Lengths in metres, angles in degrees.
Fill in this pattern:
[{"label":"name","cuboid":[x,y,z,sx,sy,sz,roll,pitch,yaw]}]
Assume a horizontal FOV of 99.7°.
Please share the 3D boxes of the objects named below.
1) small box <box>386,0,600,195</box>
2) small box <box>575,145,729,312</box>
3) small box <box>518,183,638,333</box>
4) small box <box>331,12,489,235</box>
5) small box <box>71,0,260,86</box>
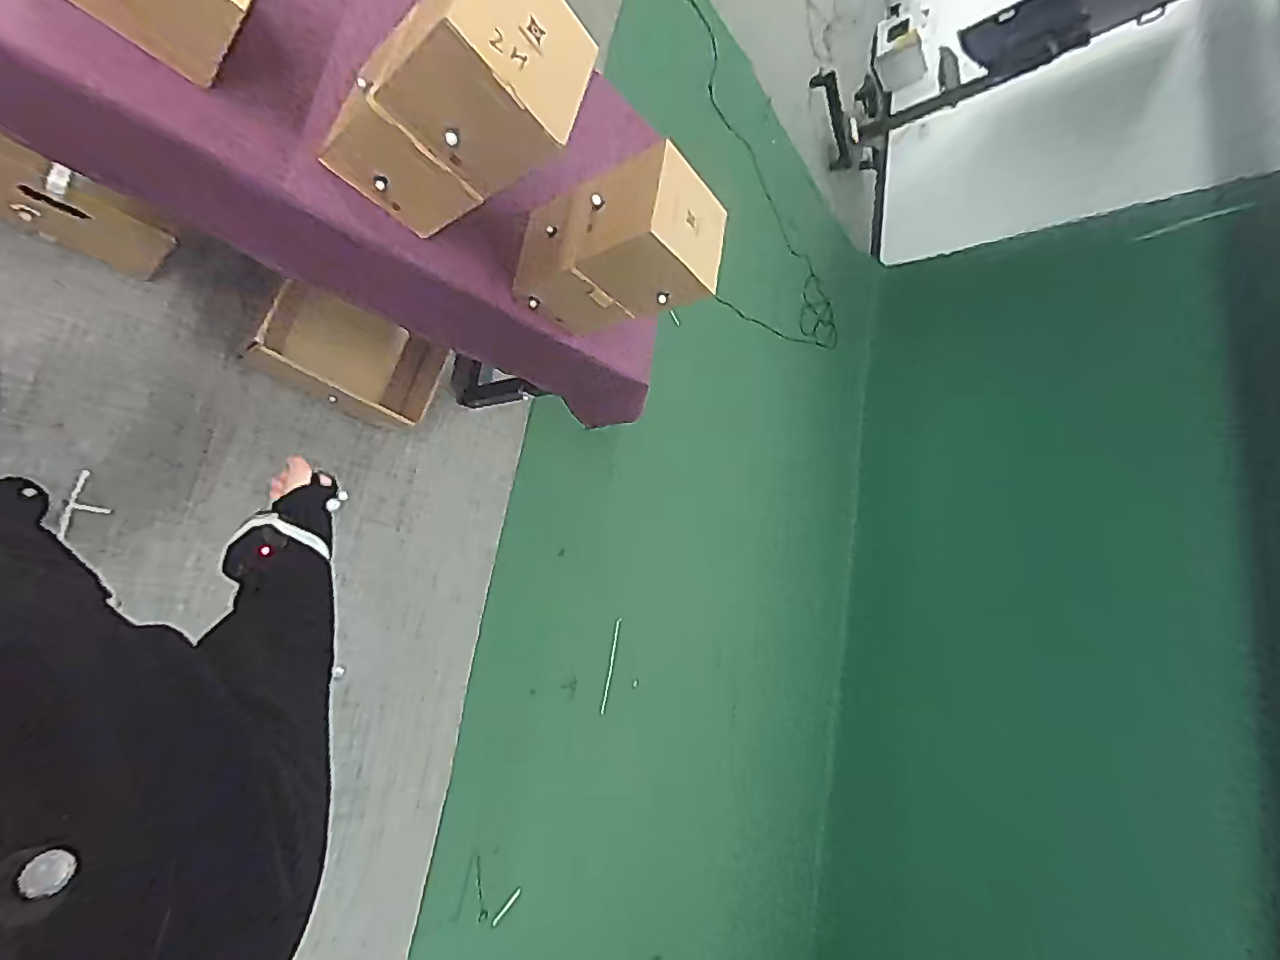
[{"label":"small box","cuboid":[-0.181,-0.499,0.667,0.168,0.176,0.179,31,67,-44]},{"label":"small box","cuboid":[0.023,-0.398,0.898,0.179,0.176,0.168,25,70,-45]},{"label":"small box","cuboid":[-0.103,-0.396,1.002,0.168,0.176,0.179,23,71,-46]},{"label":"small box","cuboid":[-0.307,-0.491,0.773,0.168,0.176,0.179,30,68,-44]},{"label":"small box","cuboid":[-0.496,-0.566,0.556,0.179,0.176,0.168,23,73,-45]}]
